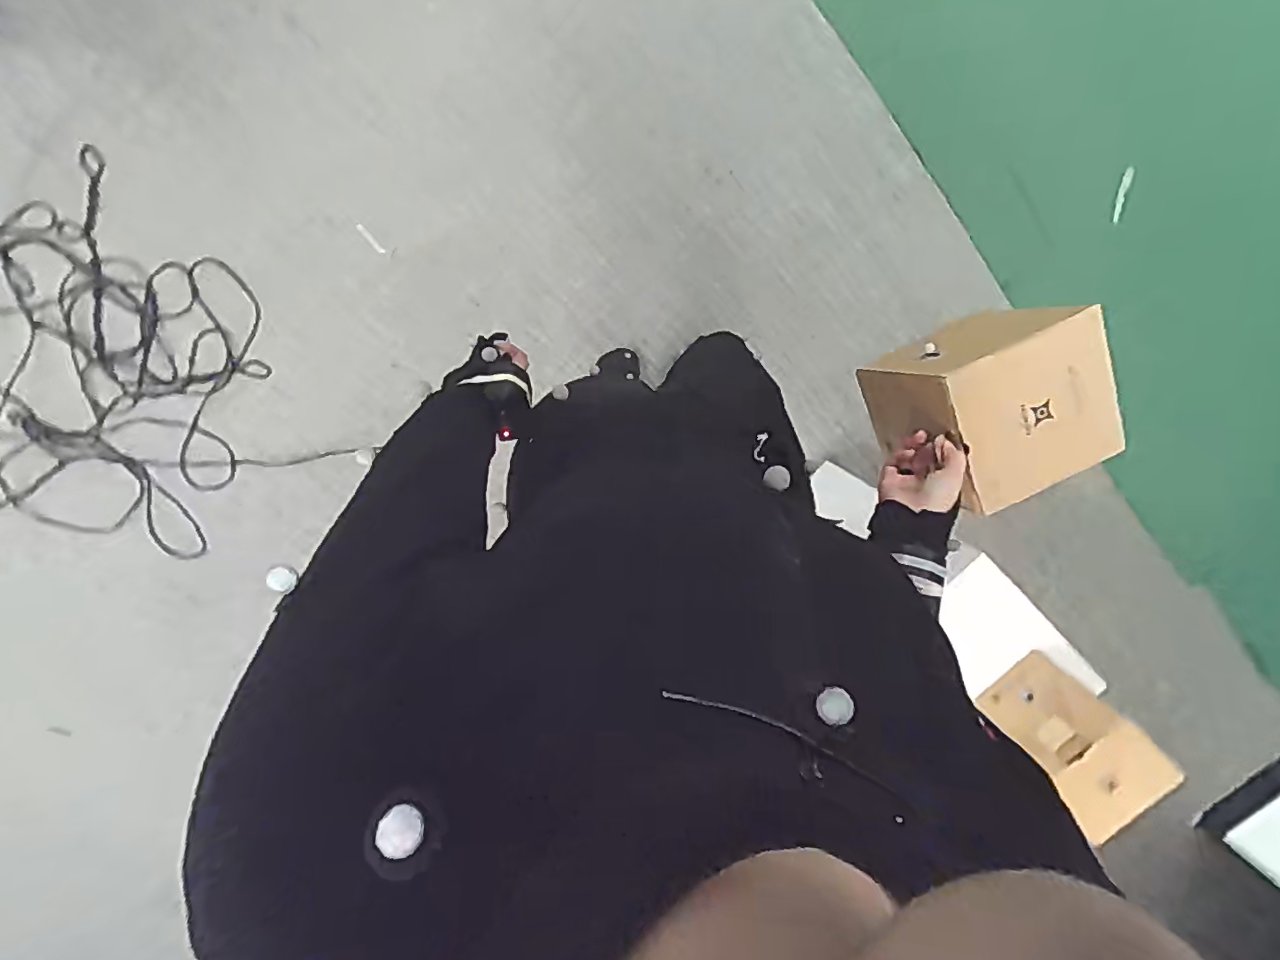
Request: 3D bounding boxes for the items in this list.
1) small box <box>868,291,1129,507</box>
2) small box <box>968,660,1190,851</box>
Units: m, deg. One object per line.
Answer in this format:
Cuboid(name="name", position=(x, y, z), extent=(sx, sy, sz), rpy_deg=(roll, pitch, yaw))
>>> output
Cuboid(name="small box", position=(0.391, -0.095, 0.622), extent=(0.179, 0.176, 0.168), rpy_deg=(-27, 106, -1))
Cuboid(name="small box", position=(0.673, 0.421, 0.849), extent=(0.179, 0.176, 0.168), rpy_deg=(40, 100, -14))
